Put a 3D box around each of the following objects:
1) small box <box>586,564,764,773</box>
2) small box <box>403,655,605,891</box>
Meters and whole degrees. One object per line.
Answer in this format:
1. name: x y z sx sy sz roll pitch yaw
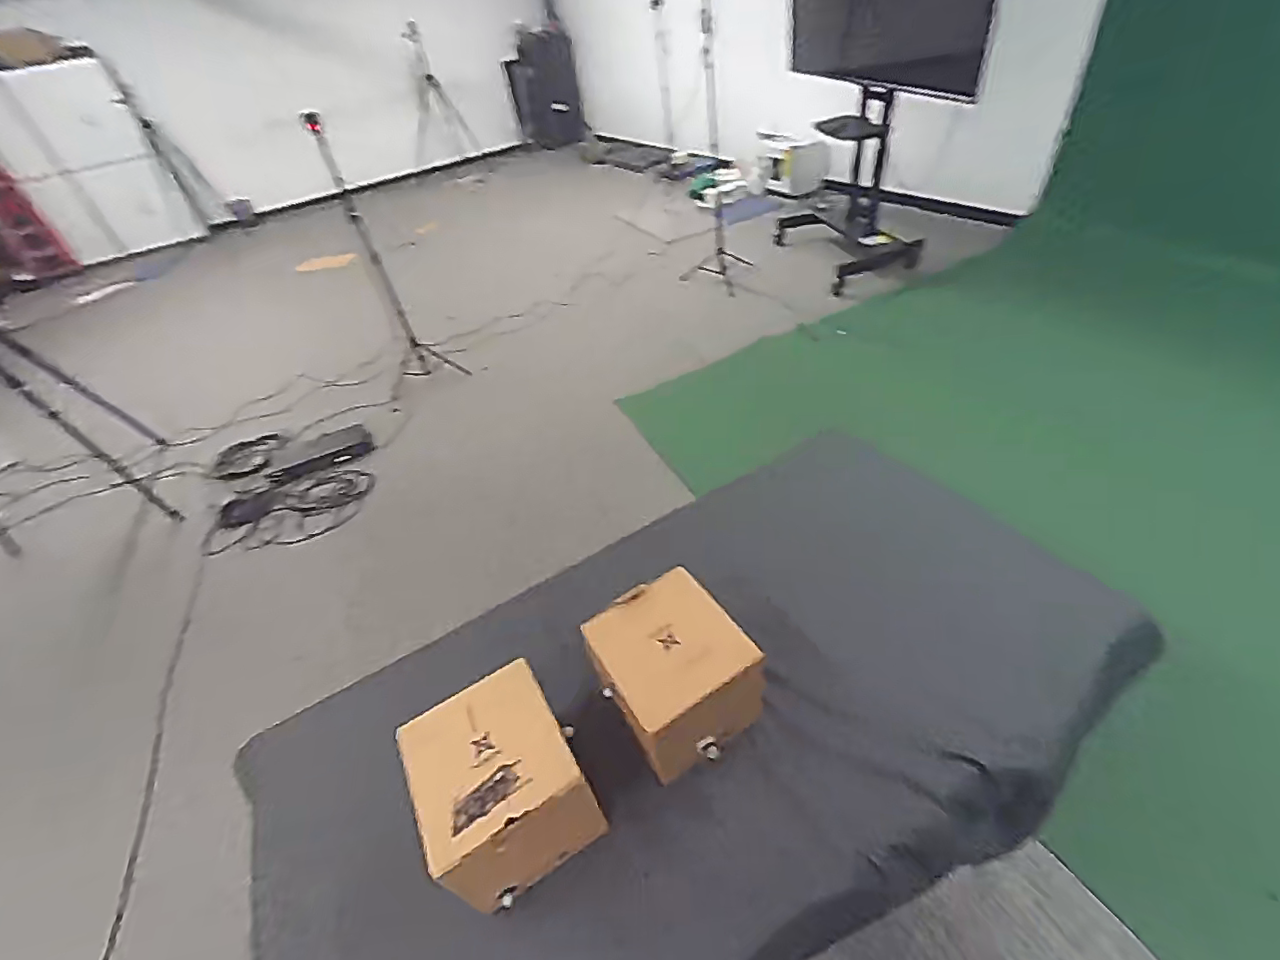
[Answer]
1. small box: 0.050 0.257 0.741 0.168 0.176 0.179 -30 46 -18
2. small box: -0.159 0.361 0.662 0.168 0.176 0.179 -27 43 -18
